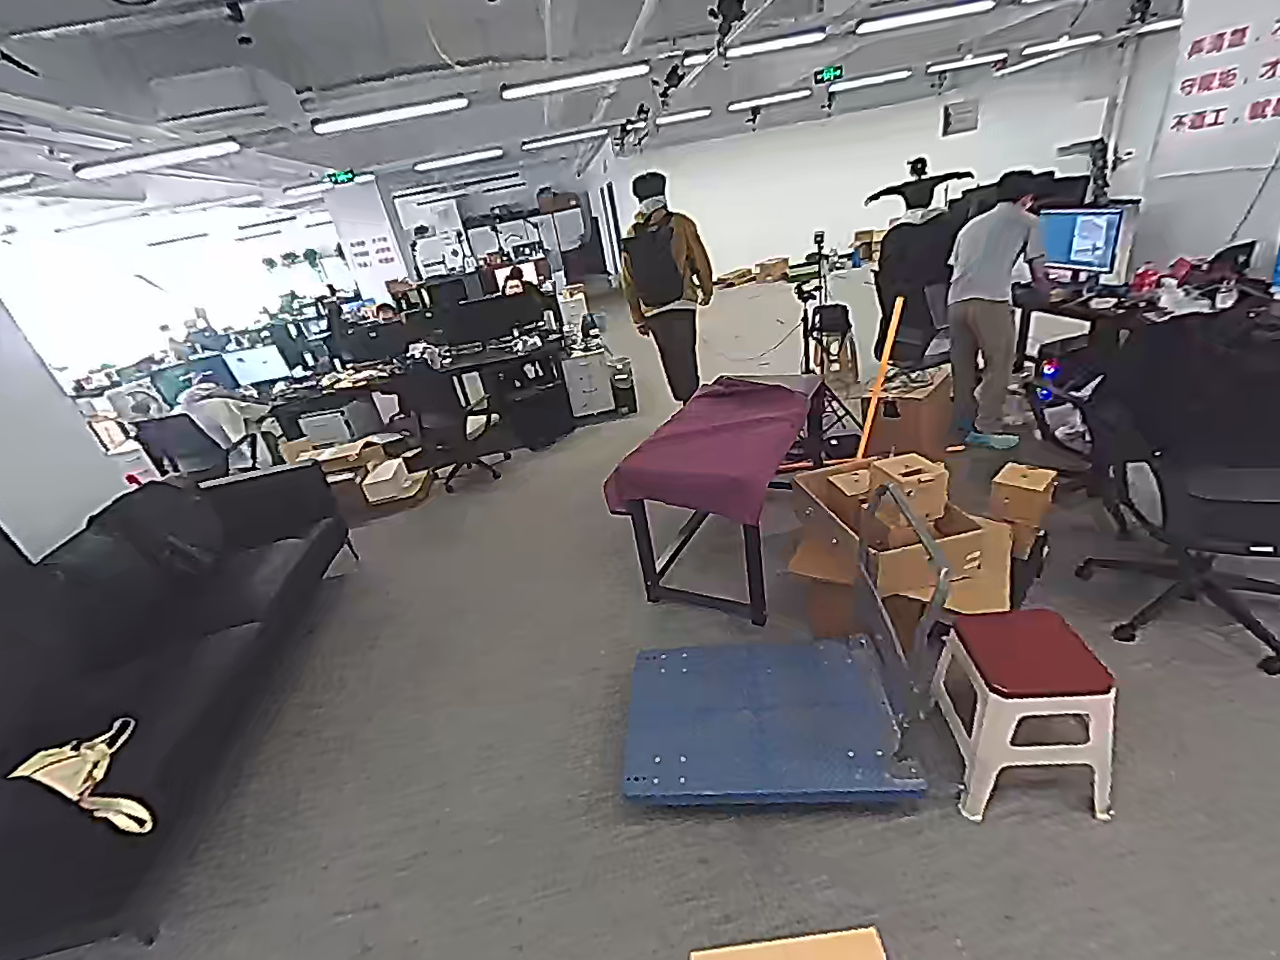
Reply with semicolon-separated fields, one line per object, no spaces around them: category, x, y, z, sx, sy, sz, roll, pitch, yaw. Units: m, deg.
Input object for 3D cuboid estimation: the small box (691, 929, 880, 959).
small box;0.137;0.518;0.438;0.168;0.176;0.179;-10;24;4
